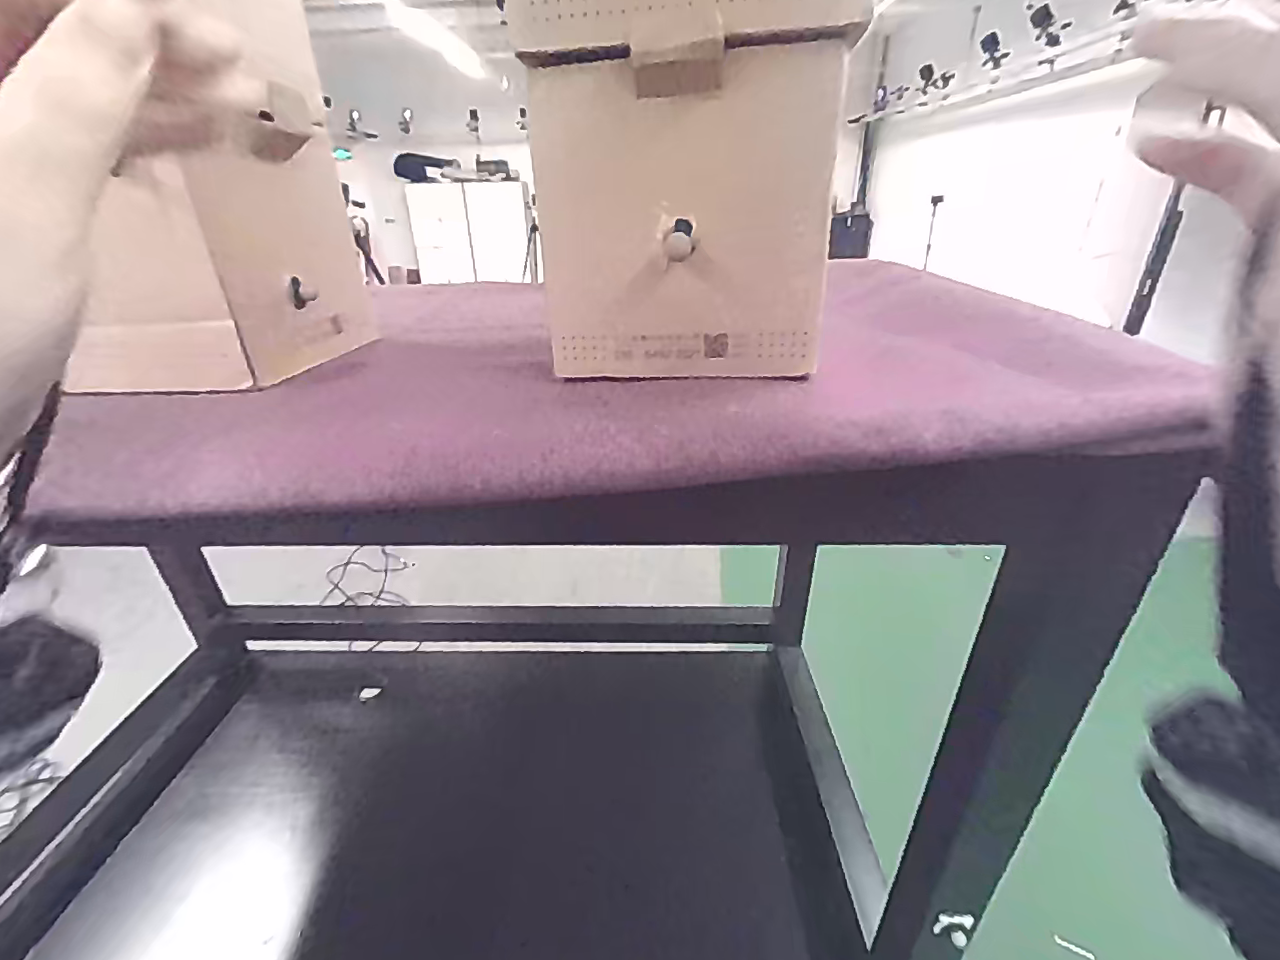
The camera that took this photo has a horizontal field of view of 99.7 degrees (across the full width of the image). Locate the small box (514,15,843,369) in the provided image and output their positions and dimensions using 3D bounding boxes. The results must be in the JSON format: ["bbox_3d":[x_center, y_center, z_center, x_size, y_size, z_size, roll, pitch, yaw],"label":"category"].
[{"bbox_3d":[0.033,-0.176,0.369,0.168,0.176,0.179,1,26,9],"label":"small box"}]

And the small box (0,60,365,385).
[{"bbox_3d":[-0.330,-0.167,0.379,0.179,0.176,0.168,0,26,1],"label":"small box"}]

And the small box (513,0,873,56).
[{"bbox_3d":[0.027,-0.321,0.290,0.179,0.176,0.168,1,25,7],"label":"small box"}]

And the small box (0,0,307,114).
[{"bbox_3d":[-0.326,-0.312,0.307,0.168,0.176,0.179,0,25,-1],"label":"small box"}]
